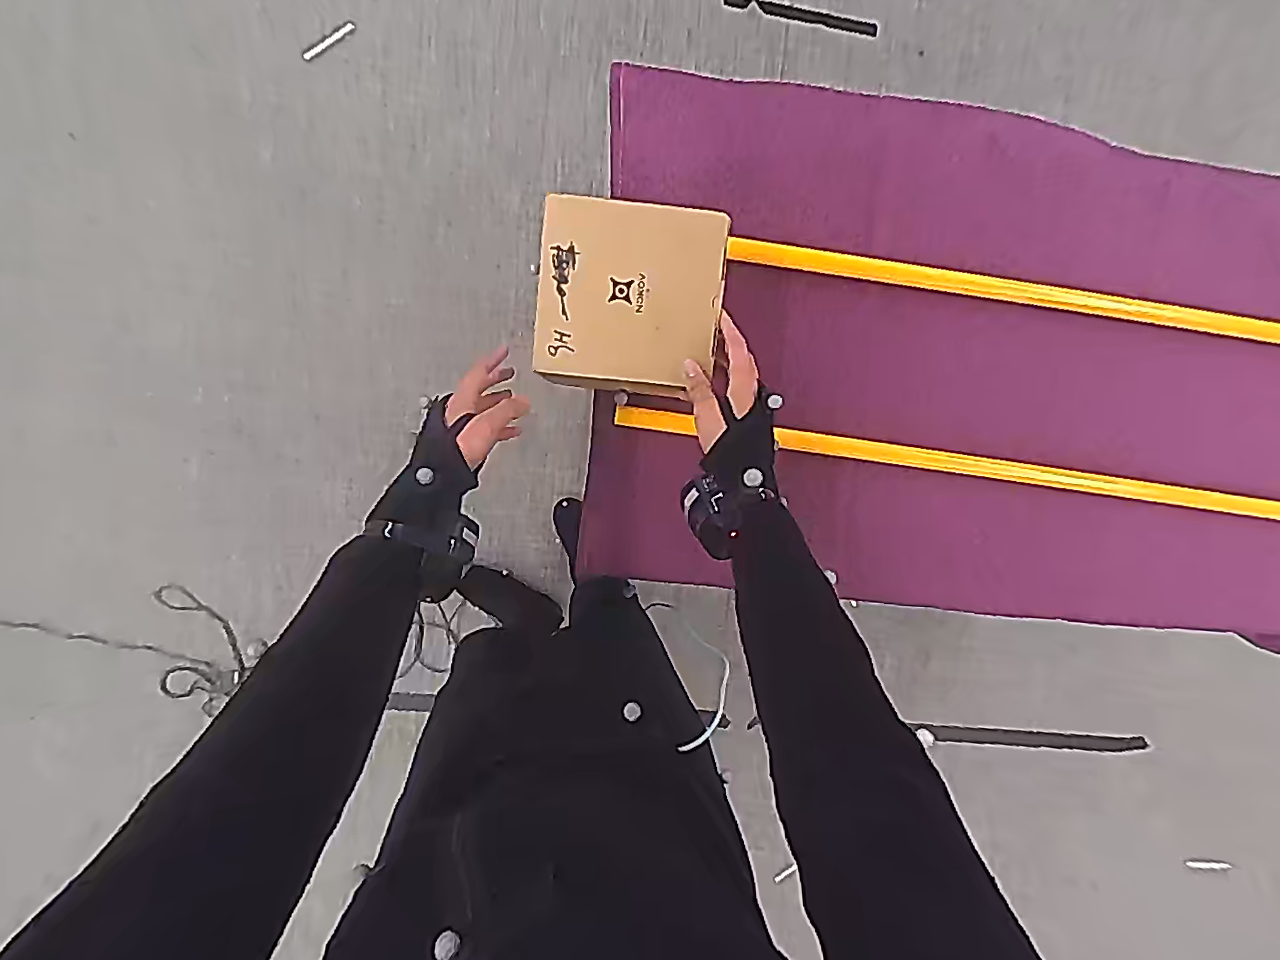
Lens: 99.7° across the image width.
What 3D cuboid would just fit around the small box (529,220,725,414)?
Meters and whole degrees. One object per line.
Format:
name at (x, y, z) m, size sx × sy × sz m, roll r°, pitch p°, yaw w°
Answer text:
small box at (-0.016, -0.164, 0.598) m, size 0.179 × 0.176 × 0.168 m, roll 6°, pitch 96°, yaw -2°
